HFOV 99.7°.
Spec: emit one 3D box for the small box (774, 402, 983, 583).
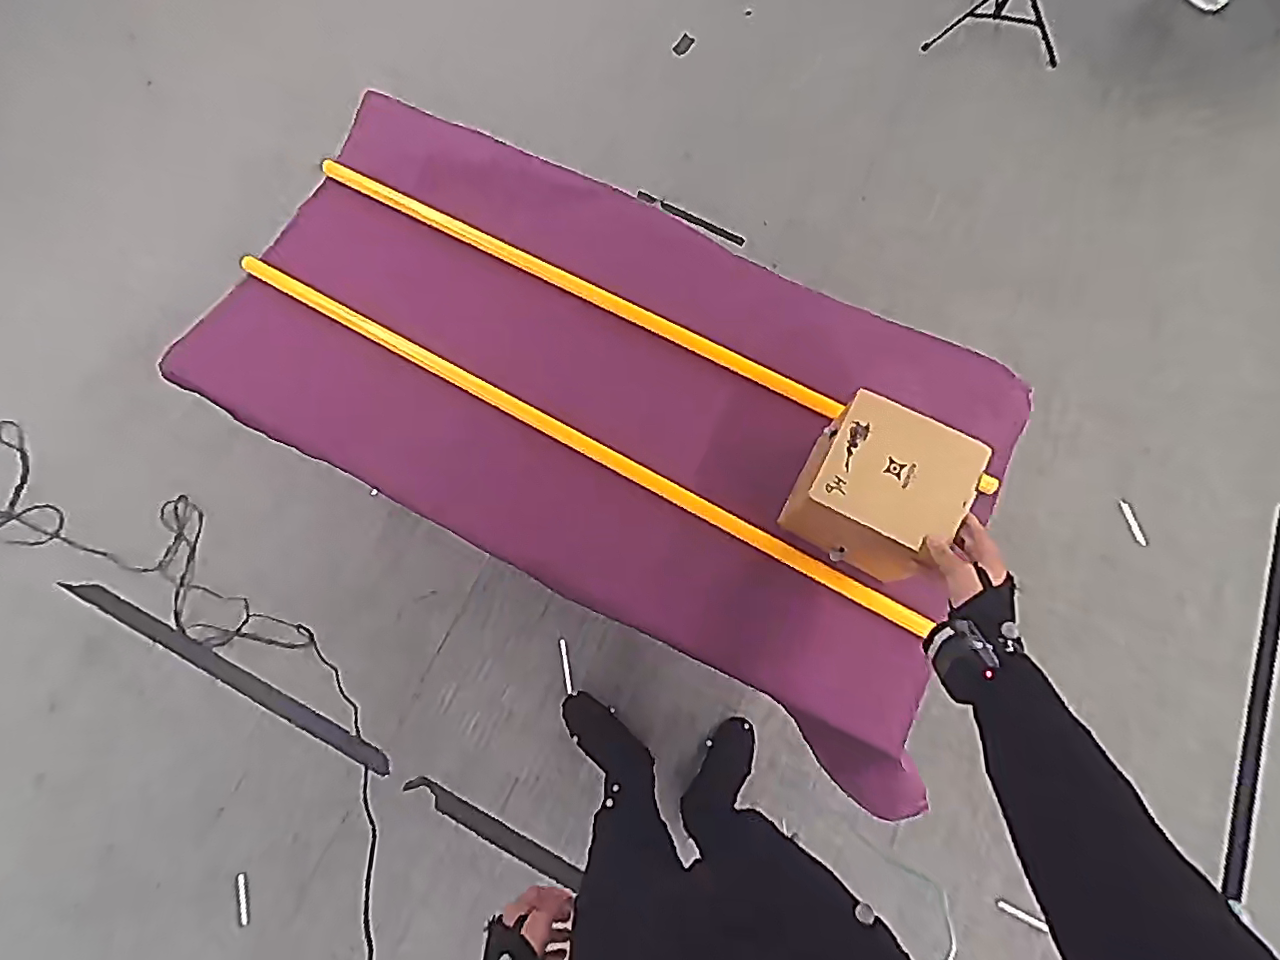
[{"bbox_3d":[0.309,0.028,0.735,0.179,0.176,0.168,29,76,8],"label":"small box"}]
